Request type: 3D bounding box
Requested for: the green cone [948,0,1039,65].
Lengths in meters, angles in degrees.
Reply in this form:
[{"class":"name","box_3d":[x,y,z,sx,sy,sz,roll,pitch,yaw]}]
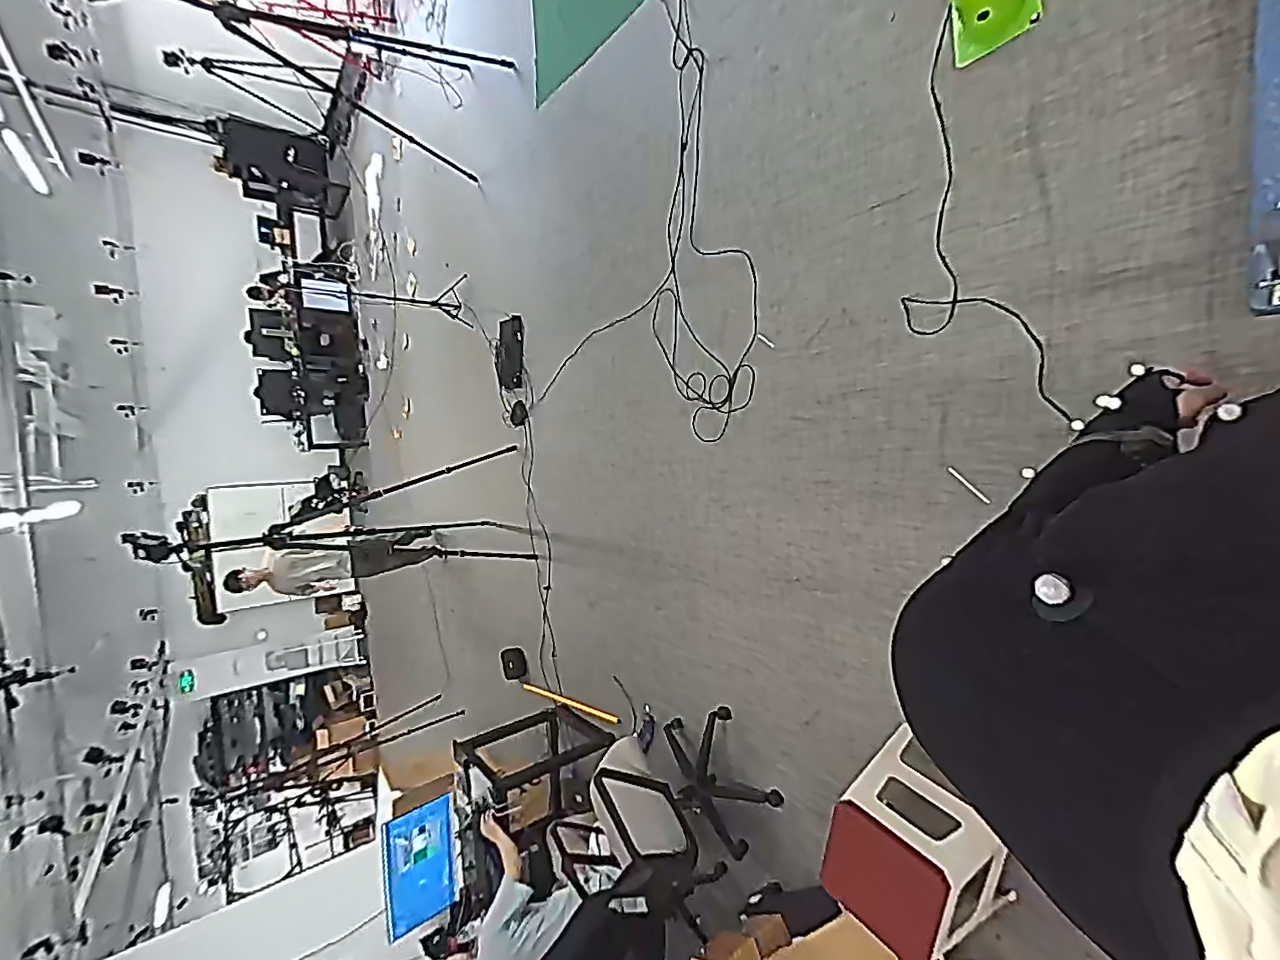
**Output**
[{"class":"green cone","box_3d":[0.779,-1.223,1.306,0.202,0.368,0.200,-4,91,54]}]
